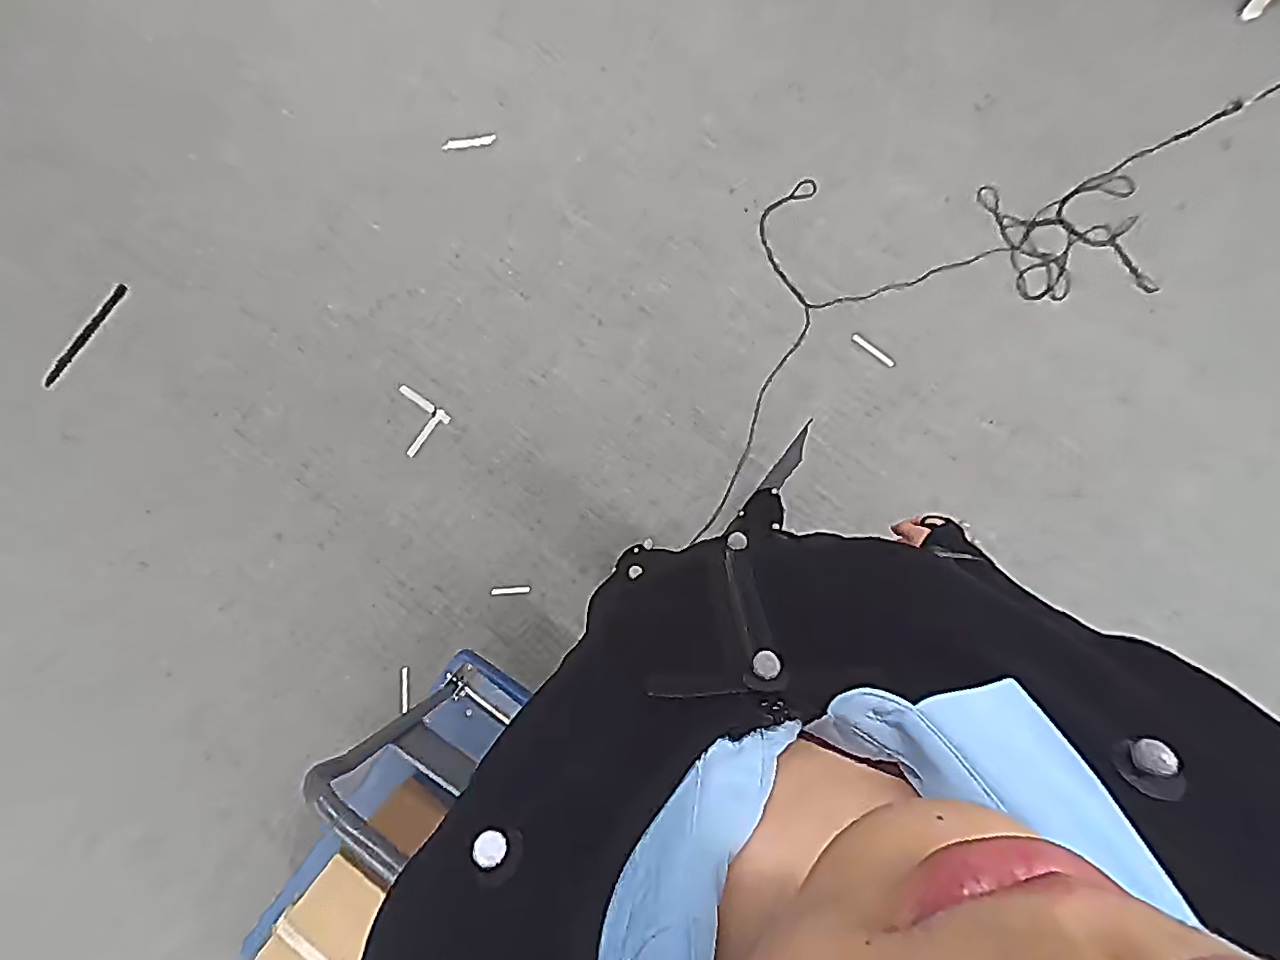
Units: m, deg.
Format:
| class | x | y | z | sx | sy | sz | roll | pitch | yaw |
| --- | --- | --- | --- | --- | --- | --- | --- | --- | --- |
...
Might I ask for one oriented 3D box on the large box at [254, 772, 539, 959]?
| class | x | y | z | sx | sy | sz | roll | pitch | yaw |
| --- | --- | --- | --- | --- | --- | --- | --- | --- | --- |
| large box | -0.483 | 0.920 | 1.135 | 0.408 | 0.320 | 0.320 | 37 | 87 | 3 |
